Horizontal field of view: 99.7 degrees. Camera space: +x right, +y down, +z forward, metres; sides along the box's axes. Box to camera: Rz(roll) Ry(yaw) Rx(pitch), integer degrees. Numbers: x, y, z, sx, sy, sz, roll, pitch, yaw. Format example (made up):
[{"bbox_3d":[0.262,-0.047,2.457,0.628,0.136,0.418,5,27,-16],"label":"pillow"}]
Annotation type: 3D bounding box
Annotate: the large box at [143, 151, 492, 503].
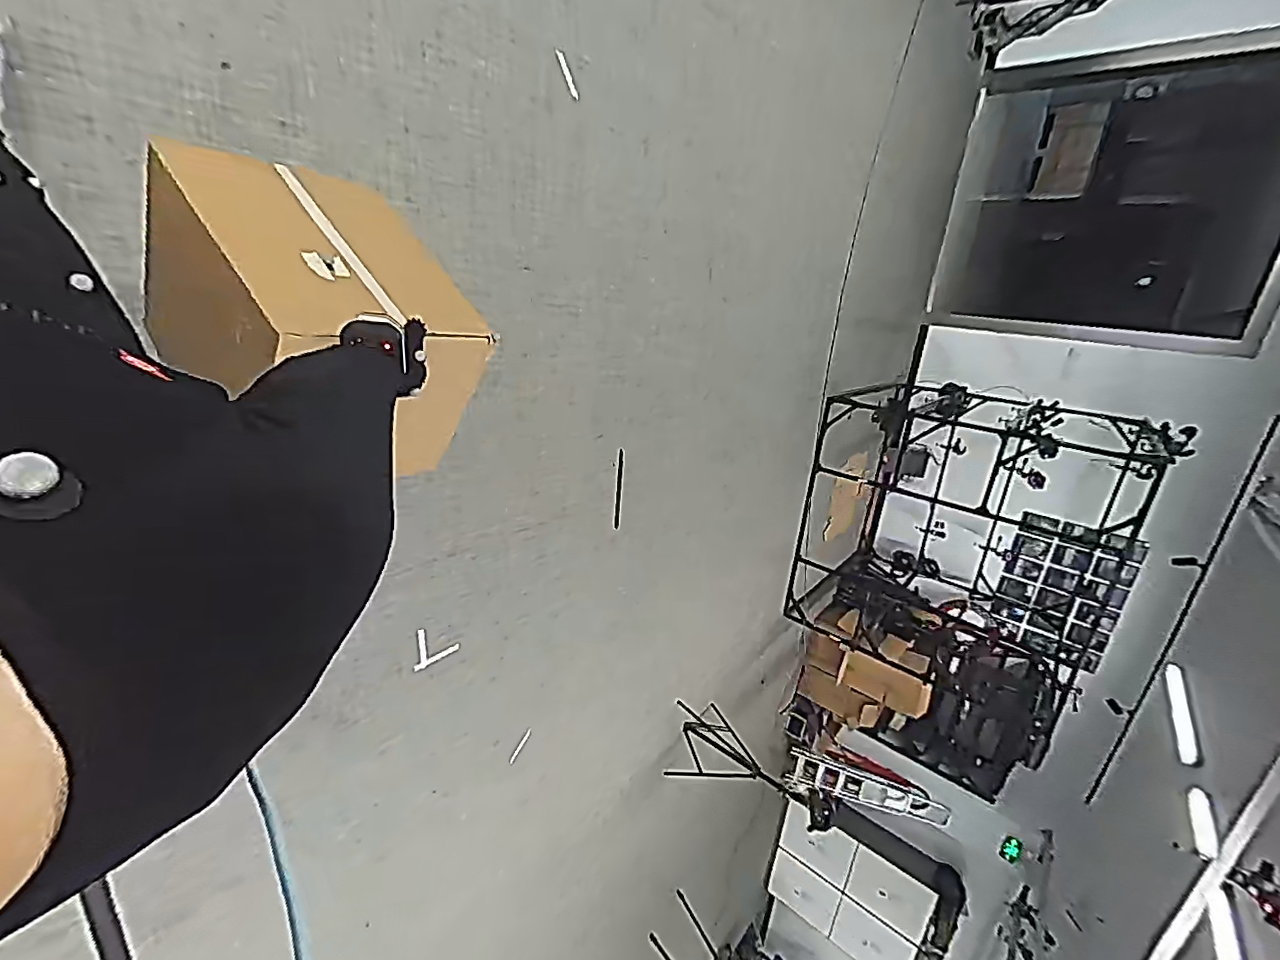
[{"bbox_3d":[-0.527,-0.232,0.876,0.320,0.408,0.320,-19,154,-53],"label":"large box"}]
